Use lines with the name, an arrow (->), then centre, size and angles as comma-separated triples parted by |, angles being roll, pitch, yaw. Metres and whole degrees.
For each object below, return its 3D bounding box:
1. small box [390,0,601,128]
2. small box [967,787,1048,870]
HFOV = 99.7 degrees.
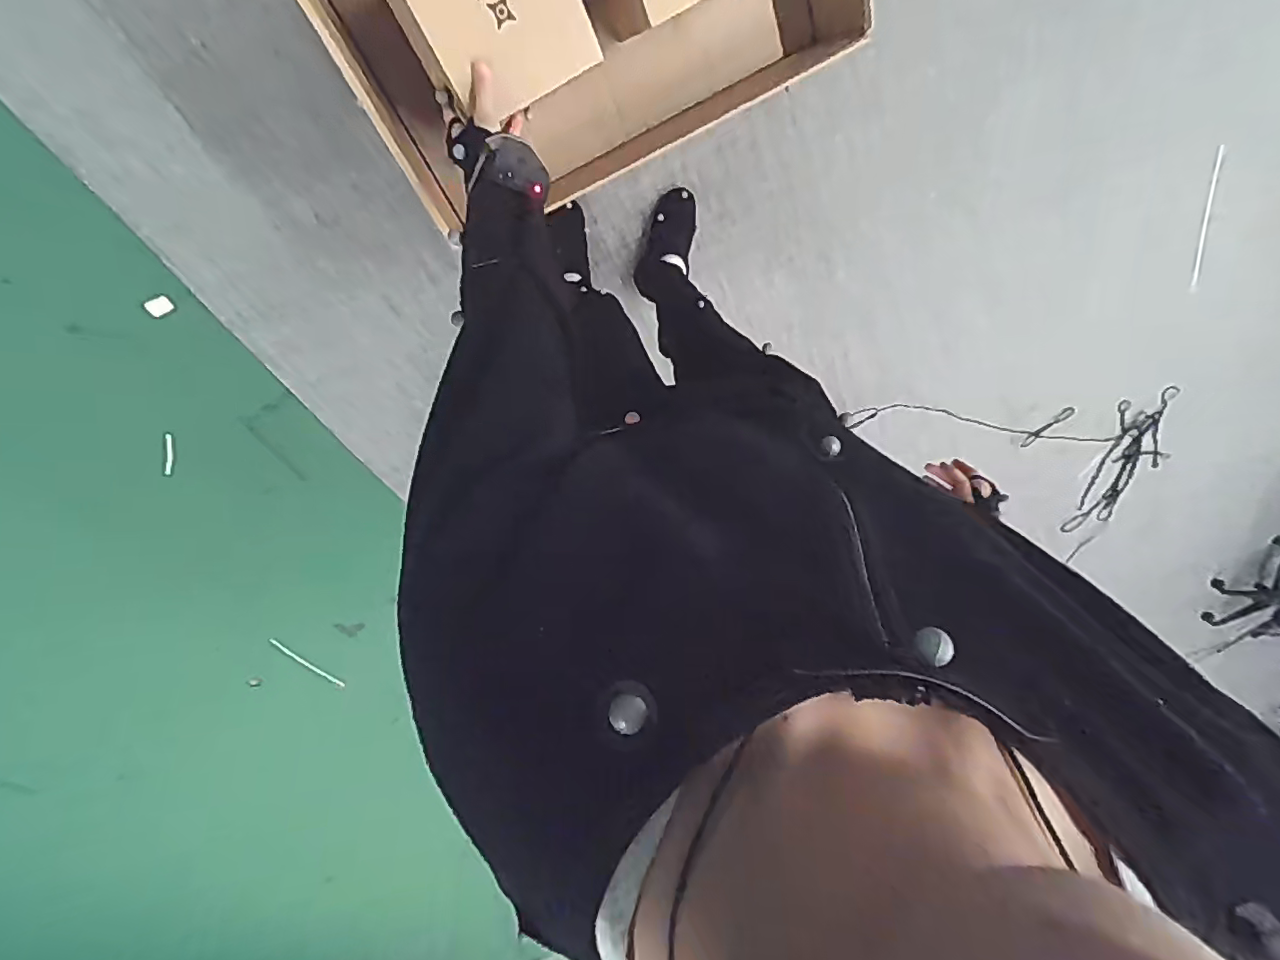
small box -> -0.171, -0.525, 0.610 | 0.168, 0.176, 0.179 | -33, 124, -5
small box -> 1.247, 1.183, 1.847 | 0.168, 0.176, 0.179 | -26, 126, 2
